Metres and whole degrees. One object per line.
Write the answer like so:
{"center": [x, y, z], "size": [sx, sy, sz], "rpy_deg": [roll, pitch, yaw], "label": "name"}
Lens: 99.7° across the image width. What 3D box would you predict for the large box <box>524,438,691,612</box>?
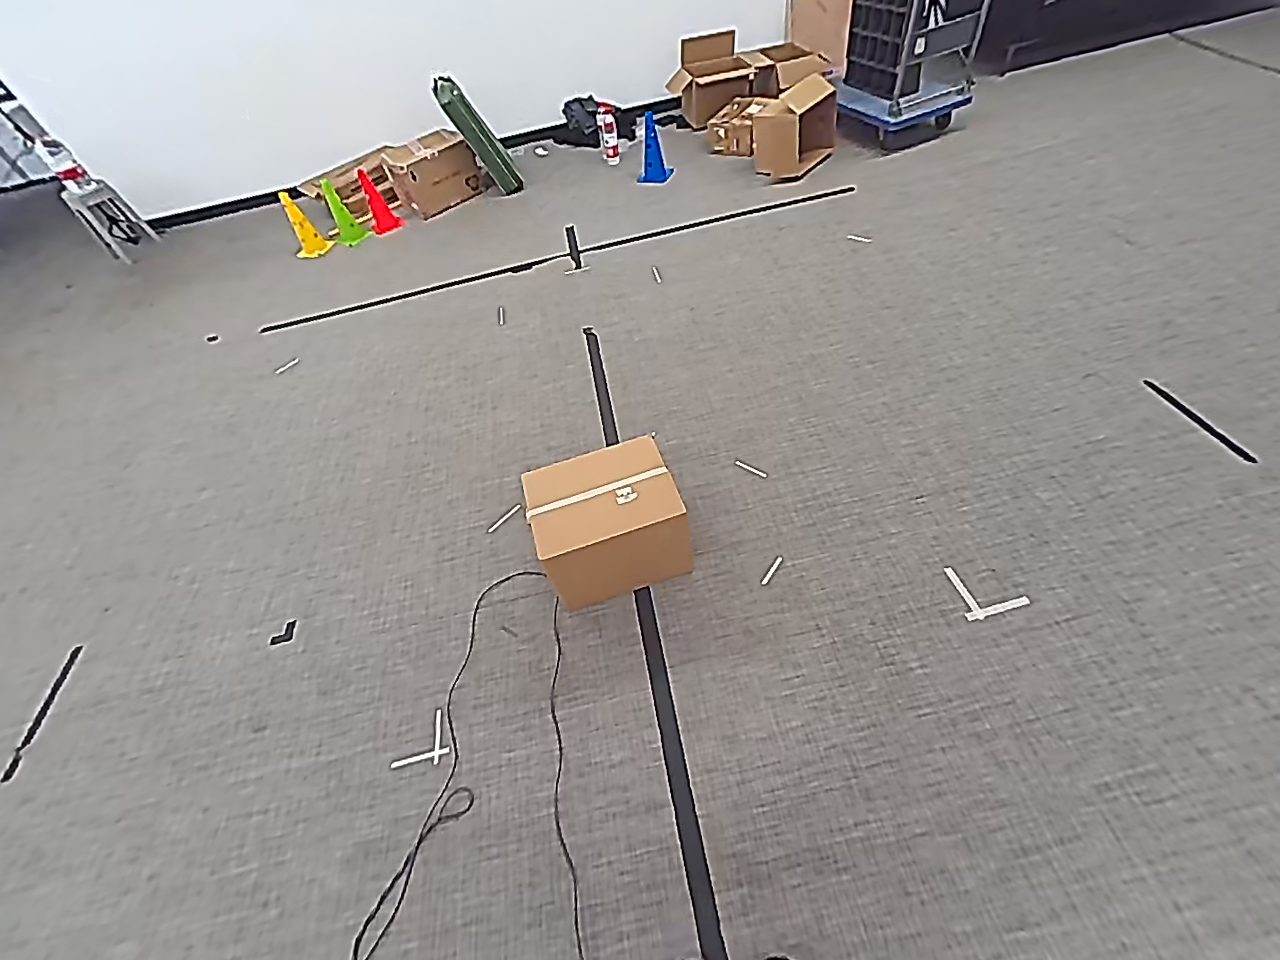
{"center": [-0.091, 0.137, 1.604], "size": [0.408, 0.320, 0.320], "rpy_deg": [-17, 51, -5], "label": "large box"}
